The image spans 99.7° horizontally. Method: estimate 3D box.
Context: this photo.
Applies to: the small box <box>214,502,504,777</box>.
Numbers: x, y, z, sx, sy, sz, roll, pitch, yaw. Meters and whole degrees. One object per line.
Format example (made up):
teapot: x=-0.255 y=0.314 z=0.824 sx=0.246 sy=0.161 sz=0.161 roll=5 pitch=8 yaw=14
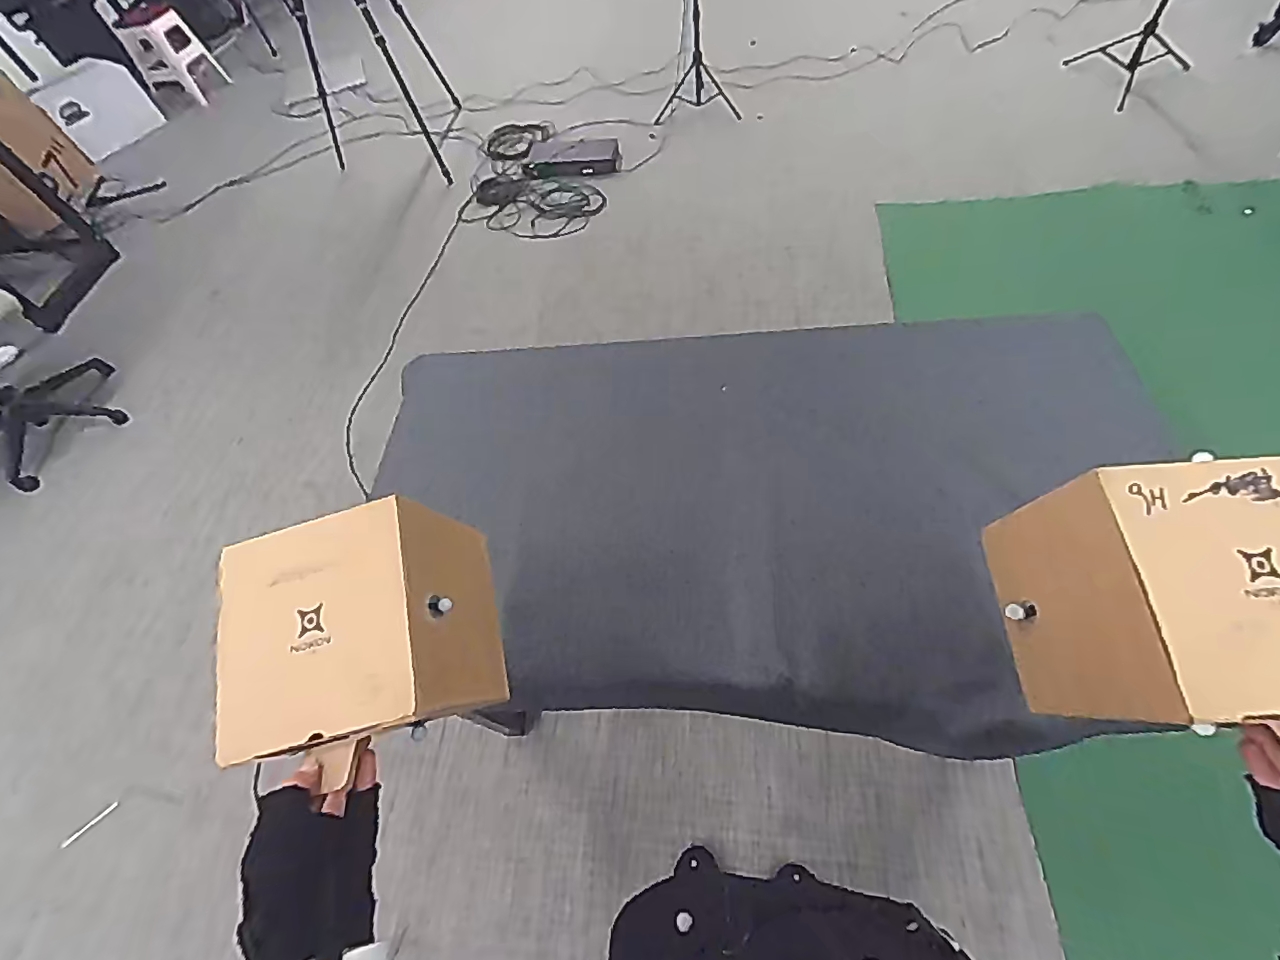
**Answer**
small box: x=-0.239 y=0.142 z=0.492 sx=0.168 sy=0.176 sz=0.179 roll=-17 pitch=69 yaw=4
